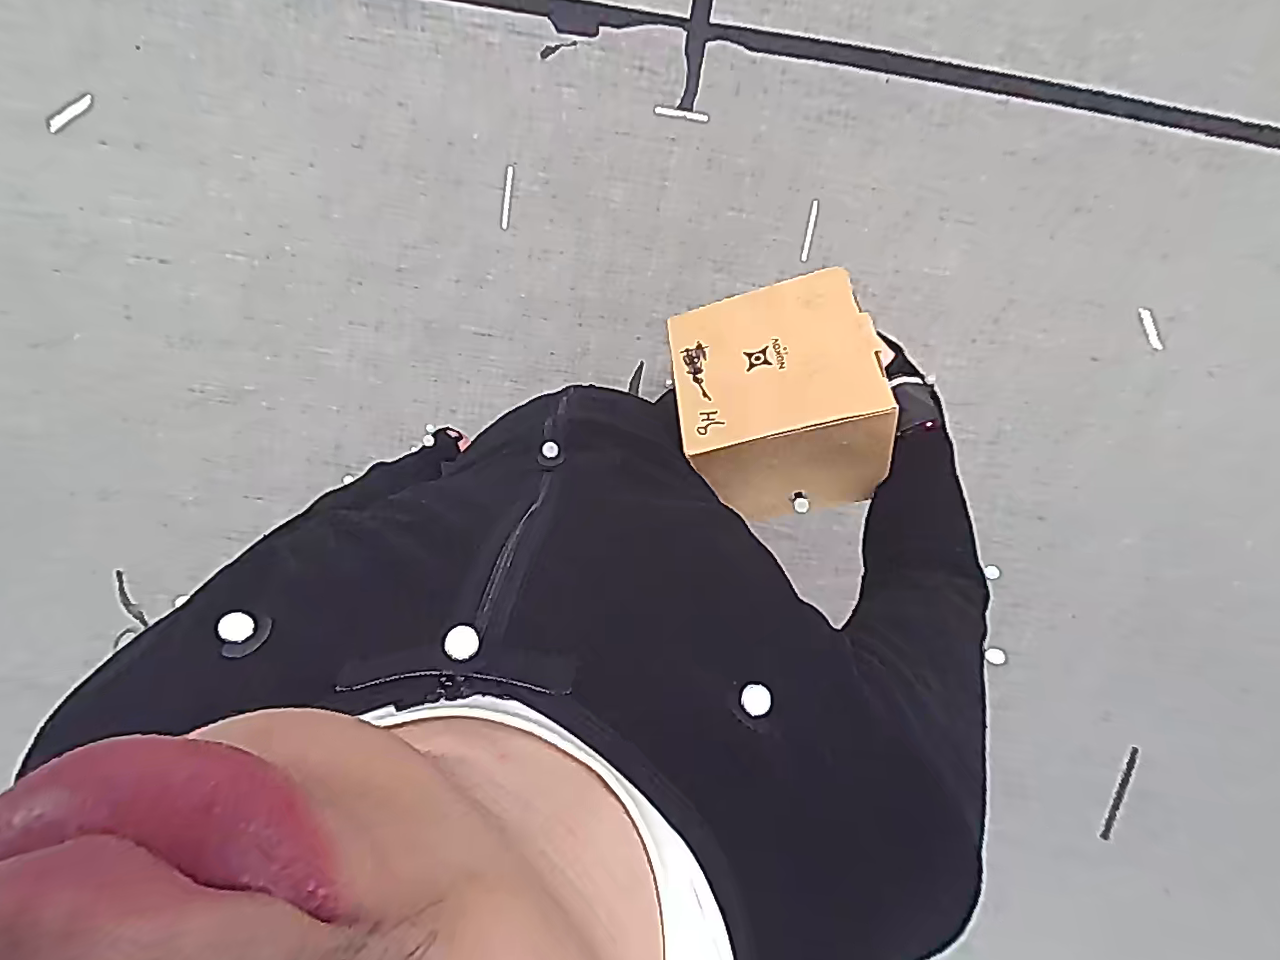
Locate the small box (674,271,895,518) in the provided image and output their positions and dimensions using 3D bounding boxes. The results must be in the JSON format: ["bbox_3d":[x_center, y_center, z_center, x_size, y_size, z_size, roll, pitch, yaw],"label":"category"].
[{"bbox_3d":[0.145,-0.077,0.566,0.179,0.176,0.168,-13,59,14],"label":"small box"}]
